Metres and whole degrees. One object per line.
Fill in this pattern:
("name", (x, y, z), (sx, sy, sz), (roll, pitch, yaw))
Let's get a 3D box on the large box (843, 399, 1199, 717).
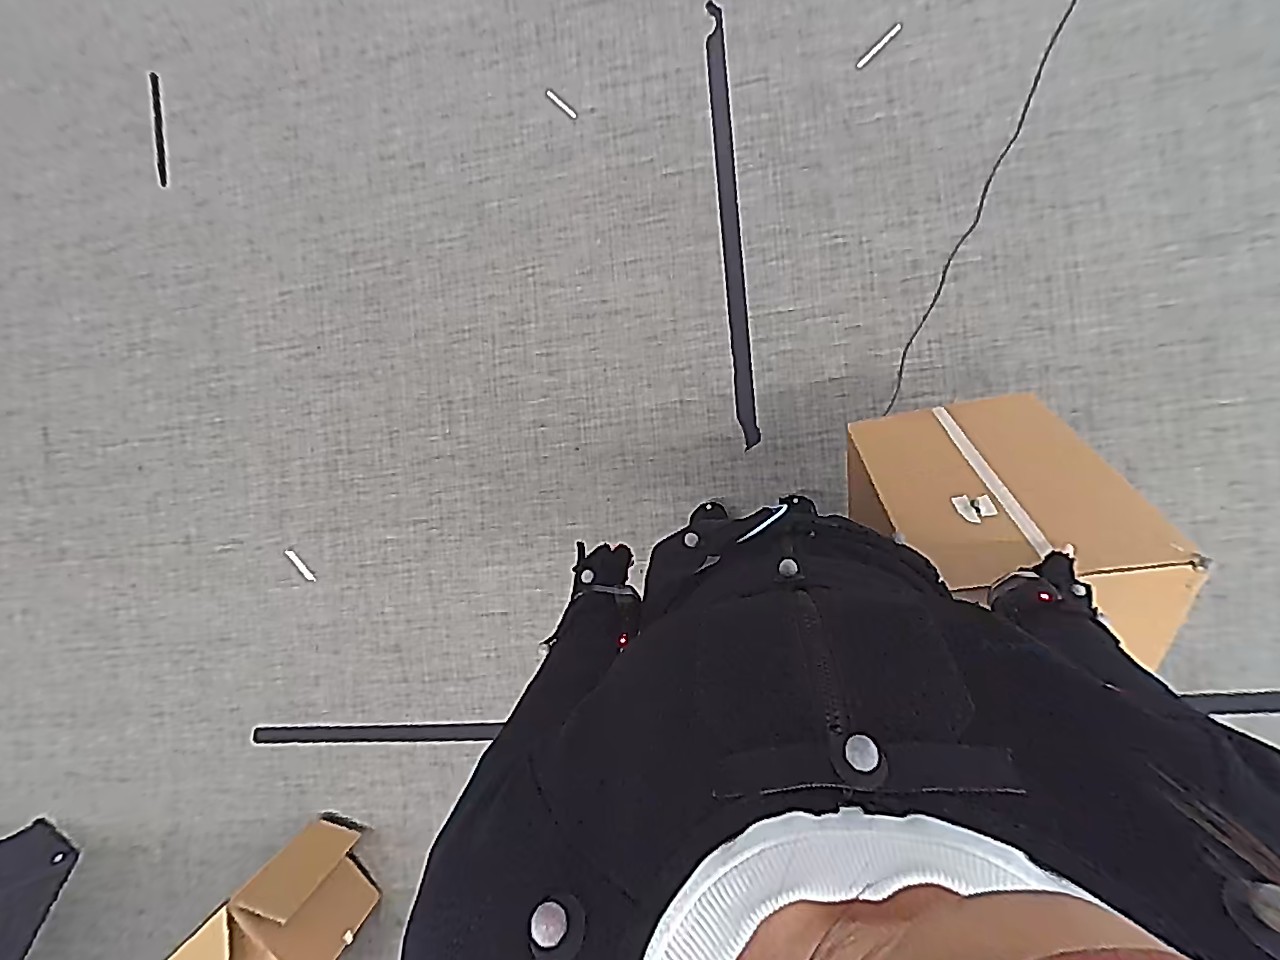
("large box", (0.547, 0.119, 0.897), (0.320, 0.408, 0.320), (-10, 127, 12))
